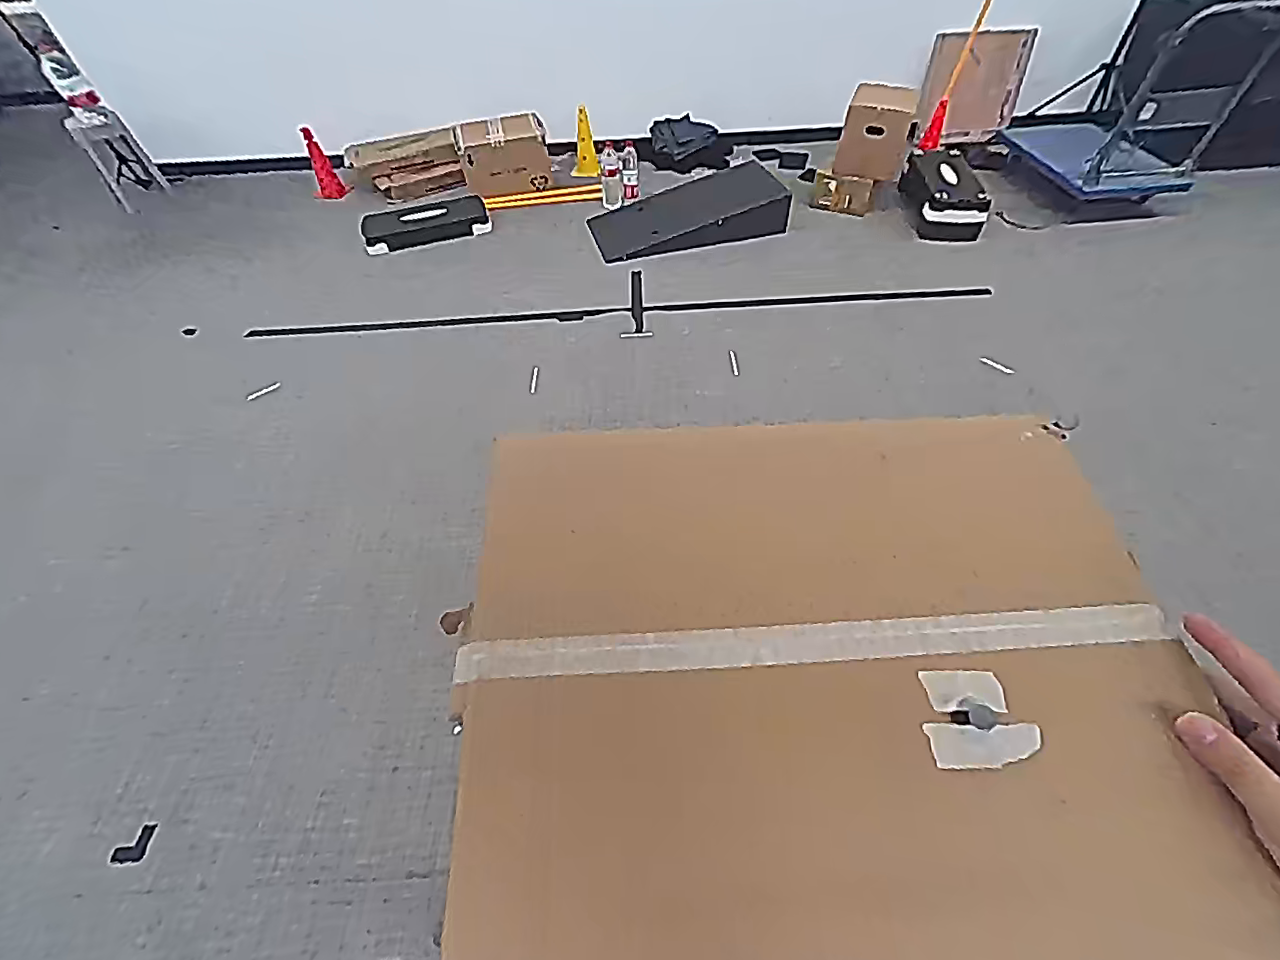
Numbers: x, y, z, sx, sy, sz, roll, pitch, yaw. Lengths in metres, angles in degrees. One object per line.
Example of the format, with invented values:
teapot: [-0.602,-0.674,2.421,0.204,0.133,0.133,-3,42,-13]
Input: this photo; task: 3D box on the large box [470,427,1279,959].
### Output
large box: [0.105,0.177,0.448,0.408,0.320,0.320,-2,59,-3]
